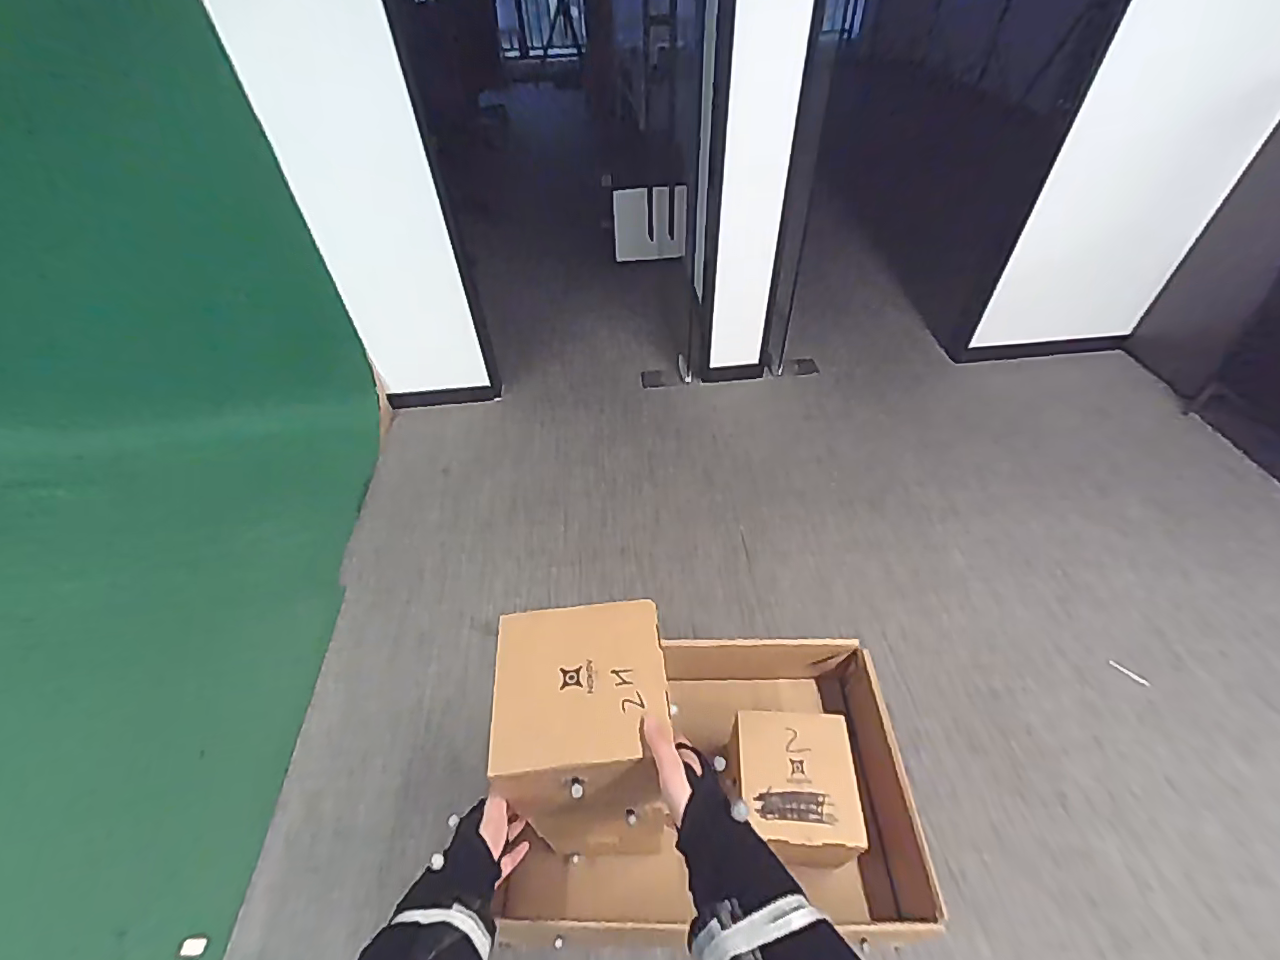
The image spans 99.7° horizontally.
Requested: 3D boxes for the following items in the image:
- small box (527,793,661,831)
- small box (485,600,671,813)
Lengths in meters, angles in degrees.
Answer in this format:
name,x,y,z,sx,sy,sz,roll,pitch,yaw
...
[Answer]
name,x,y,z,sx,sy,sz,roll,pitch,yaw
small box,-0.061,0.365,0.734,0.179,0.176,0.168,0,47,0
small box,-0.061,0.257,0.607,0.179,0.176,0.168,-5,47,-3
